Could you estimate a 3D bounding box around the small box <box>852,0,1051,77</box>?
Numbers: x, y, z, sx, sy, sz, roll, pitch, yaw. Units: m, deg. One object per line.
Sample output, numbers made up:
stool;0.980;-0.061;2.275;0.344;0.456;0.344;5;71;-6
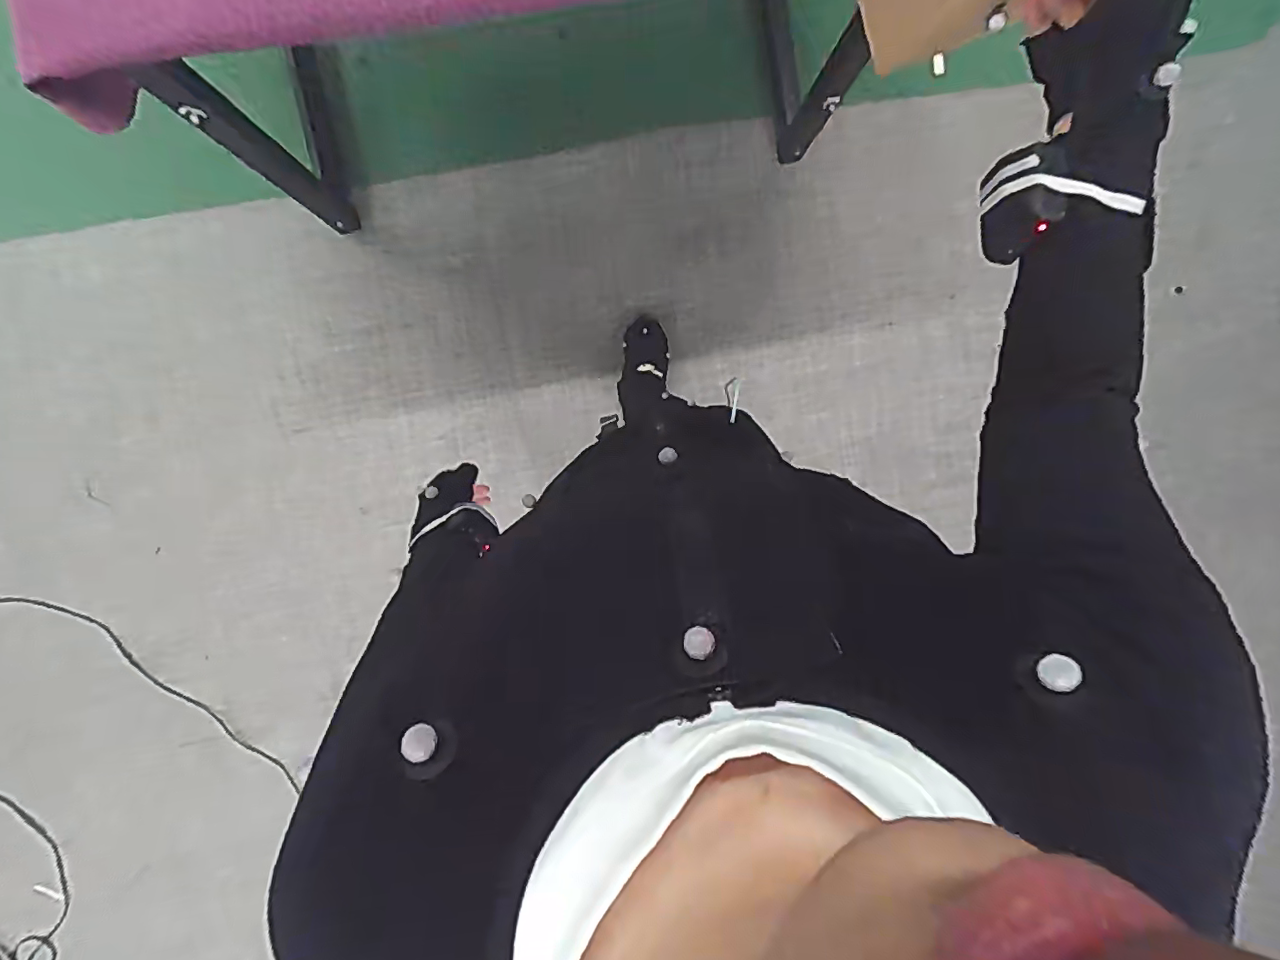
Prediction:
small box;0.277;-0.481;0.433;0.168;0.176;0.179;-21;102;0
